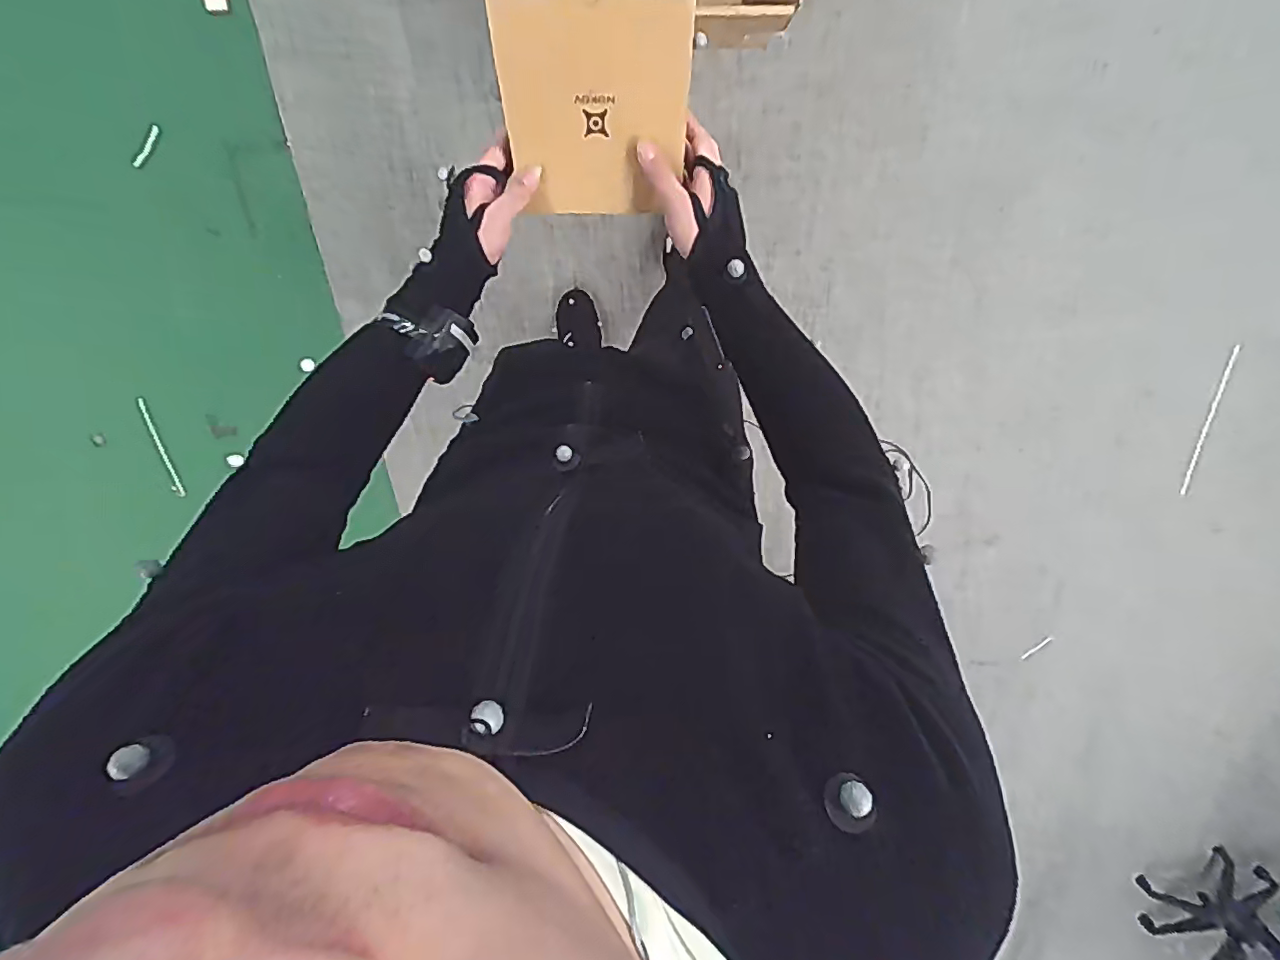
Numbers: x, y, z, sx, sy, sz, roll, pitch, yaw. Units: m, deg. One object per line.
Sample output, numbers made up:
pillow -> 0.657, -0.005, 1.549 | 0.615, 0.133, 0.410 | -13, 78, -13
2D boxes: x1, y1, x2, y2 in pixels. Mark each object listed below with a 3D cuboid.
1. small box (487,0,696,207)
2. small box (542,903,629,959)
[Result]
small box -> -0.037, -0.393, 0.522 | 0.168, 0.176, 0.179 | 0, 143, 0
small box -> -0.143, 1.237, 1.396 | 0.168, 0.176, 0.179 | -38, 111, 15
